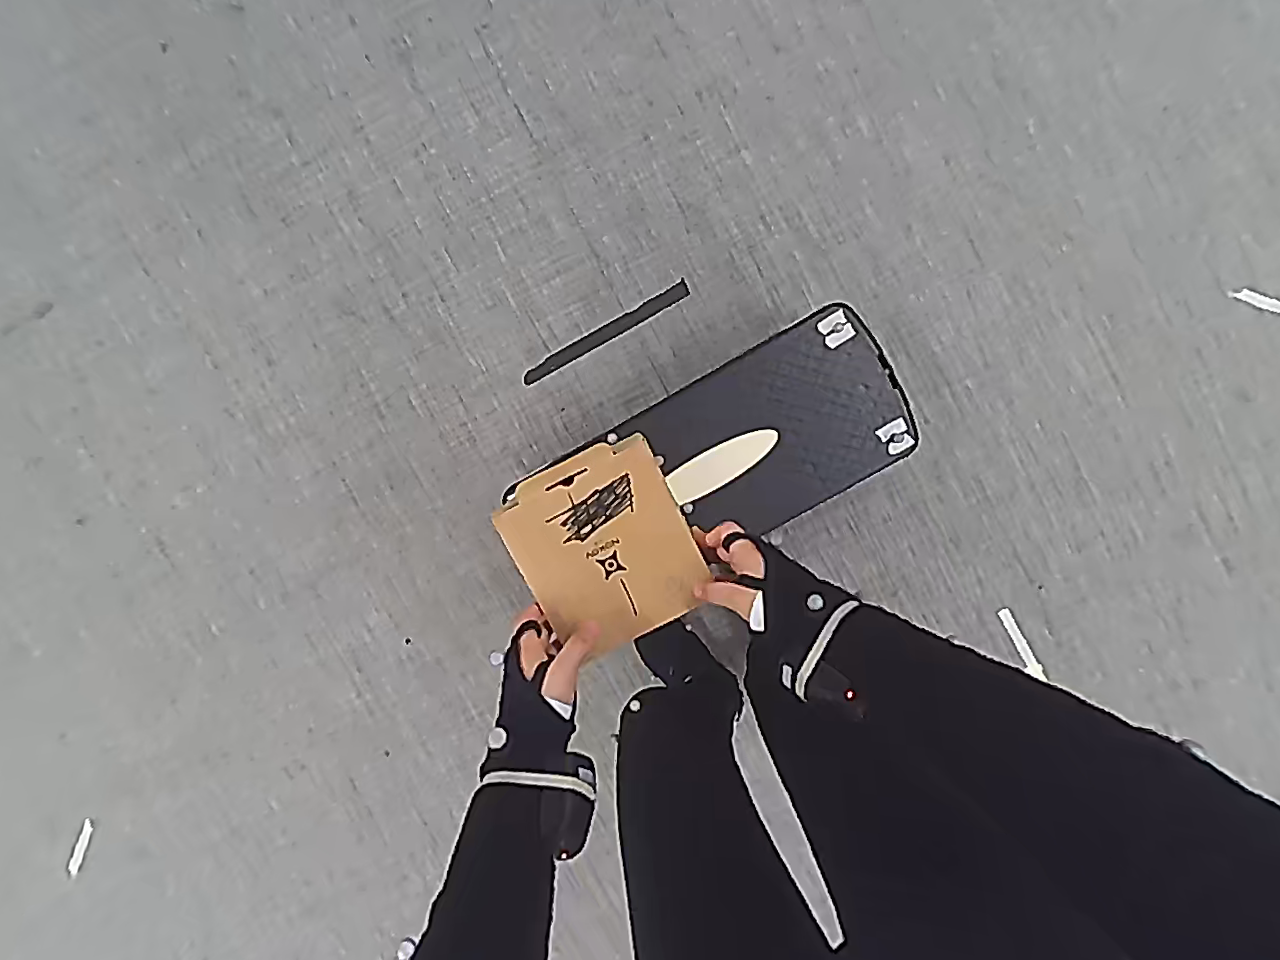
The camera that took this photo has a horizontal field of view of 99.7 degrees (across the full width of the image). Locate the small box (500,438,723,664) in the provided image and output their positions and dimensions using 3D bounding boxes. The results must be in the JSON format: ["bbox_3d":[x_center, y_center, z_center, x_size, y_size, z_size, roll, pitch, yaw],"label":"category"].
[{"bbox_3d":[-0.030,0.064,0.603,0.168,0.176,0.179,-27,97,2],"label":"small box"}]

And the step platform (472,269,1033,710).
[{"bbox_3d":[0.133,0.017,0.747,0.684,0.204,0.286,-30,93,2],"label":"step platform"}]
